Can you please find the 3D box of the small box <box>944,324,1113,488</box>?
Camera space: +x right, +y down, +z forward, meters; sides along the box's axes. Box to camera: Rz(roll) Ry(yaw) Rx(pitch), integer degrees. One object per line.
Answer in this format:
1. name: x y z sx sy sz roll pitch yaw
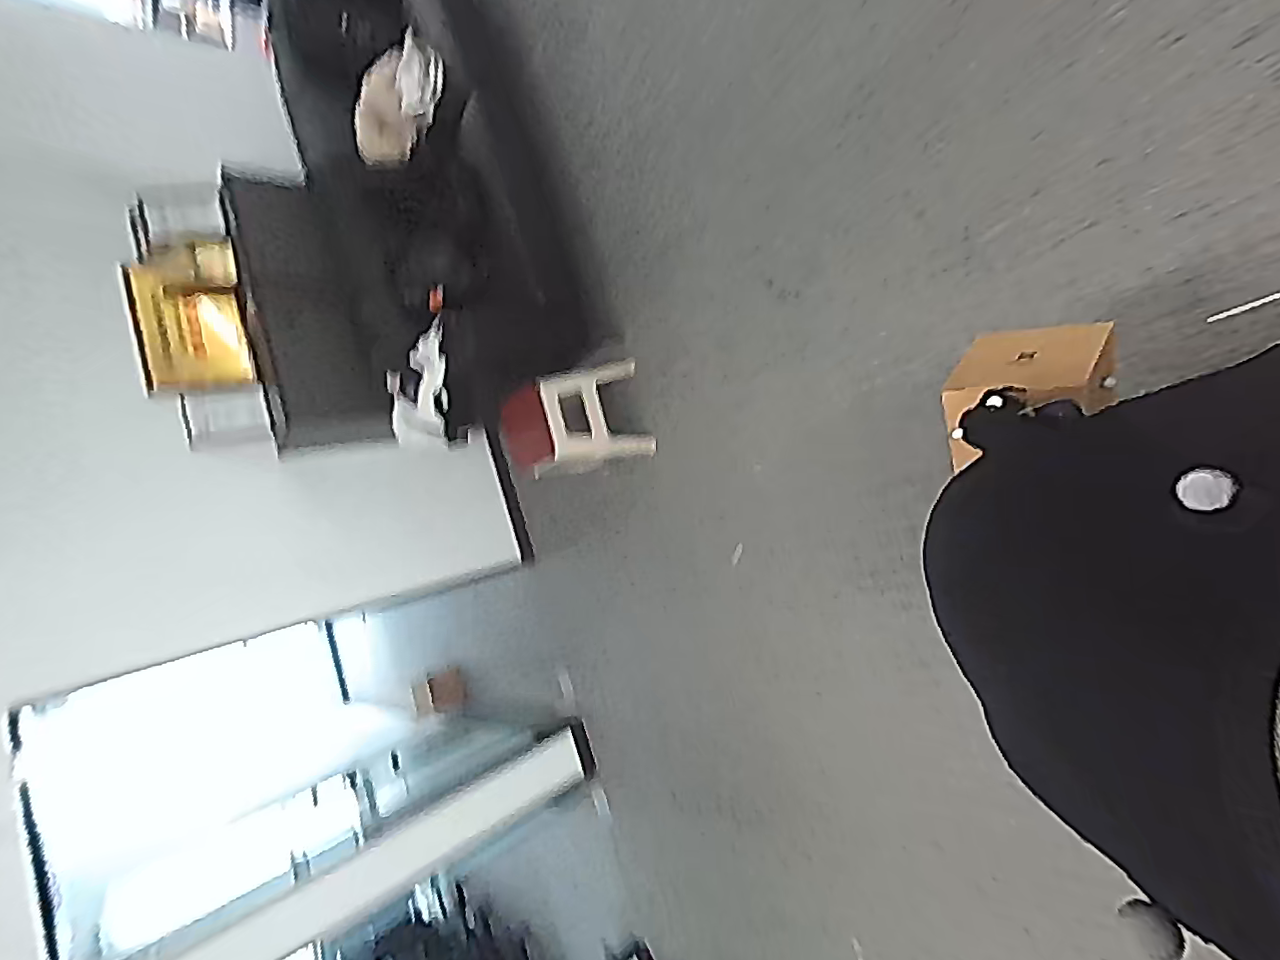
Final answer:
1. small box: 0.581 -0.113 0.810 0.168 0.179 0.176 10 136 47
